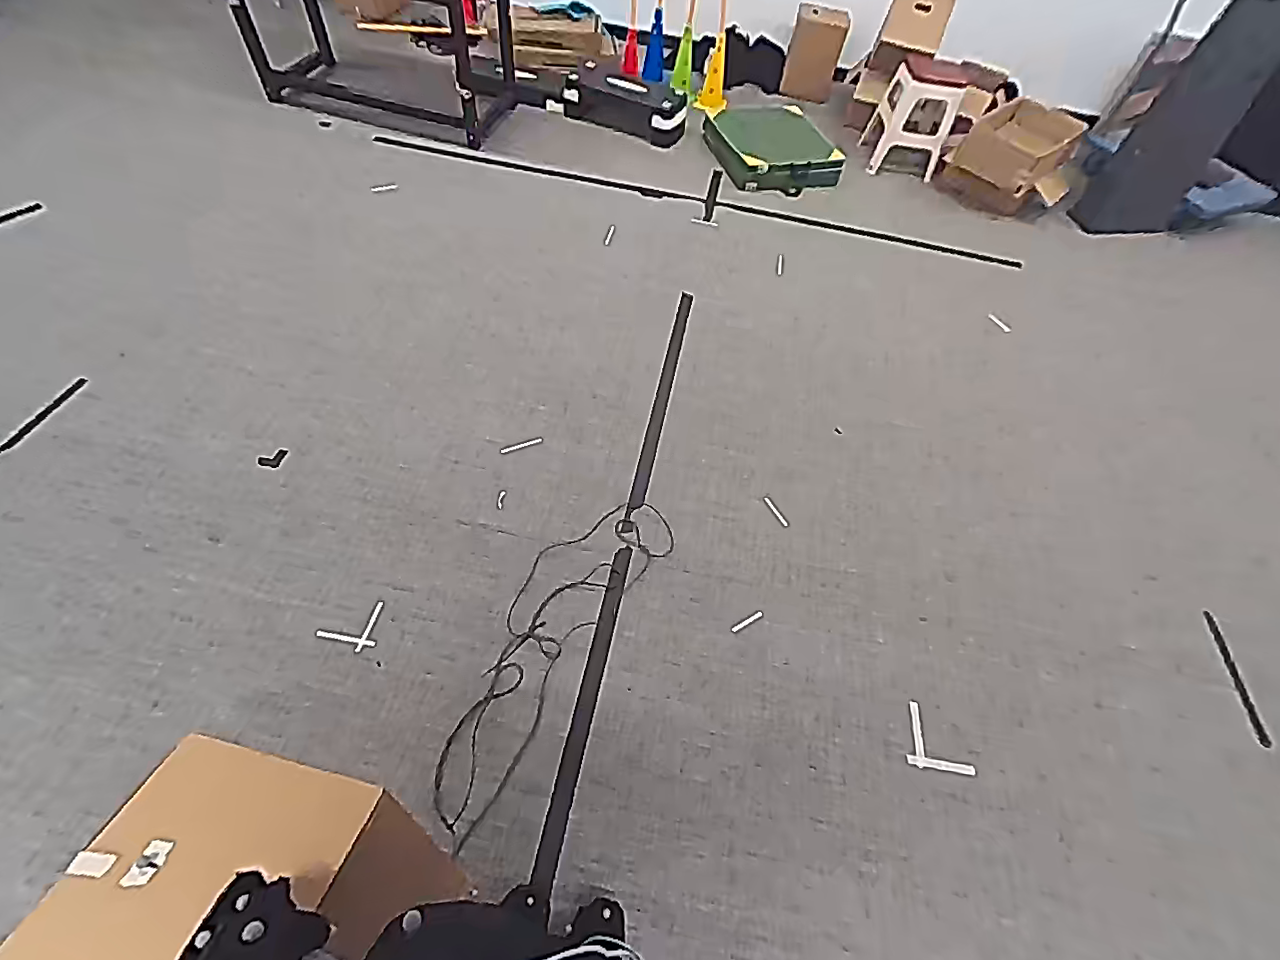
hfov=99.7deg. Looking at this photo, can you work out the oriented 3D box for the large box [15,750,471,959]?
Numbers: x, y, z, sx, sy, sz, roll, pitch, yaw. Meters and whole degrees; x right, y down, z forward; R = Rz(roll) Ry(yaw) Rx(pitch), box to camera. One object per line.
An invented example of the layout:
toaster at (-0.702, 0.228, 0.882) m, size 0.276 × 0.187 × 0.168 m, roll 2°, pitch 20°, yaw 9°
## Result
large box at (-0.479, 0.618, 0.708) m, size 0.320 × 0.408 × 0.320 m, roll 8°, pitch 42°, yaw 14°
